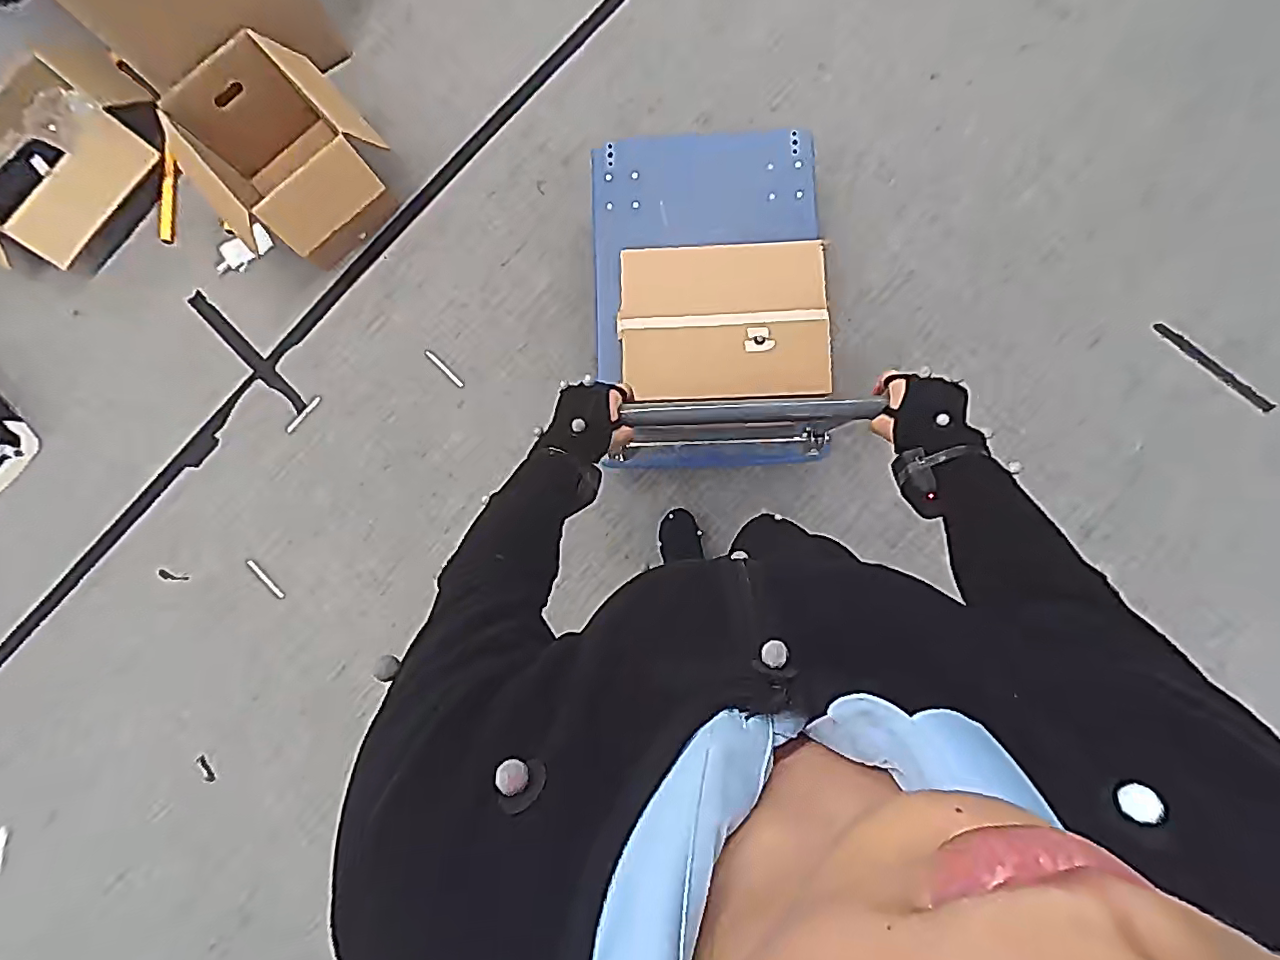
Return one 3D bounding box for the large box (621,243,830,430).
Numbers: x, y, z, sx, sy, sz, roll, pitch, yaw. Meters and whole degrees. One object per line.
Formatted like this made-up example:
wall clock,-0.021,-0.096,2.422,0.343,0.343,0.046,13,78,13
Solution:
large box,0.170,-0.300,1.218,0.408,0.320,0.320,-2,85,2
